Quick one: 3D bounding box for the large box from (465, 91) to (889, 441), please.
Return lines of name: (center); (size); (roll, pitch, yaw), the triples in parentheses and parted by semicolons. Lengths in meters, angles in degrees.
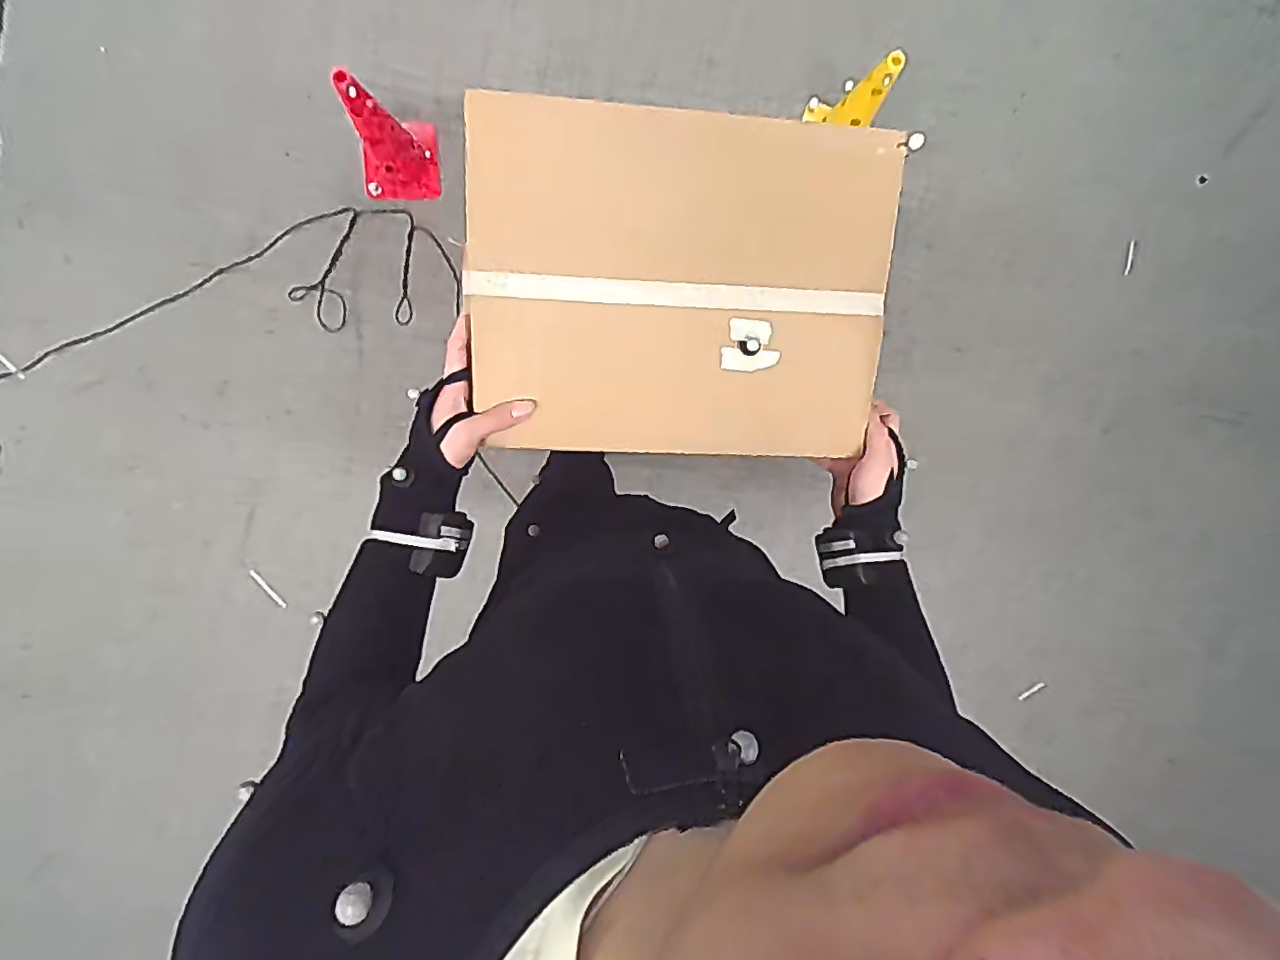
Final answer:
large box: (0.021, -0.225, 0.672); (0.408, 0.320, 0.320); (1, 104, -7)
